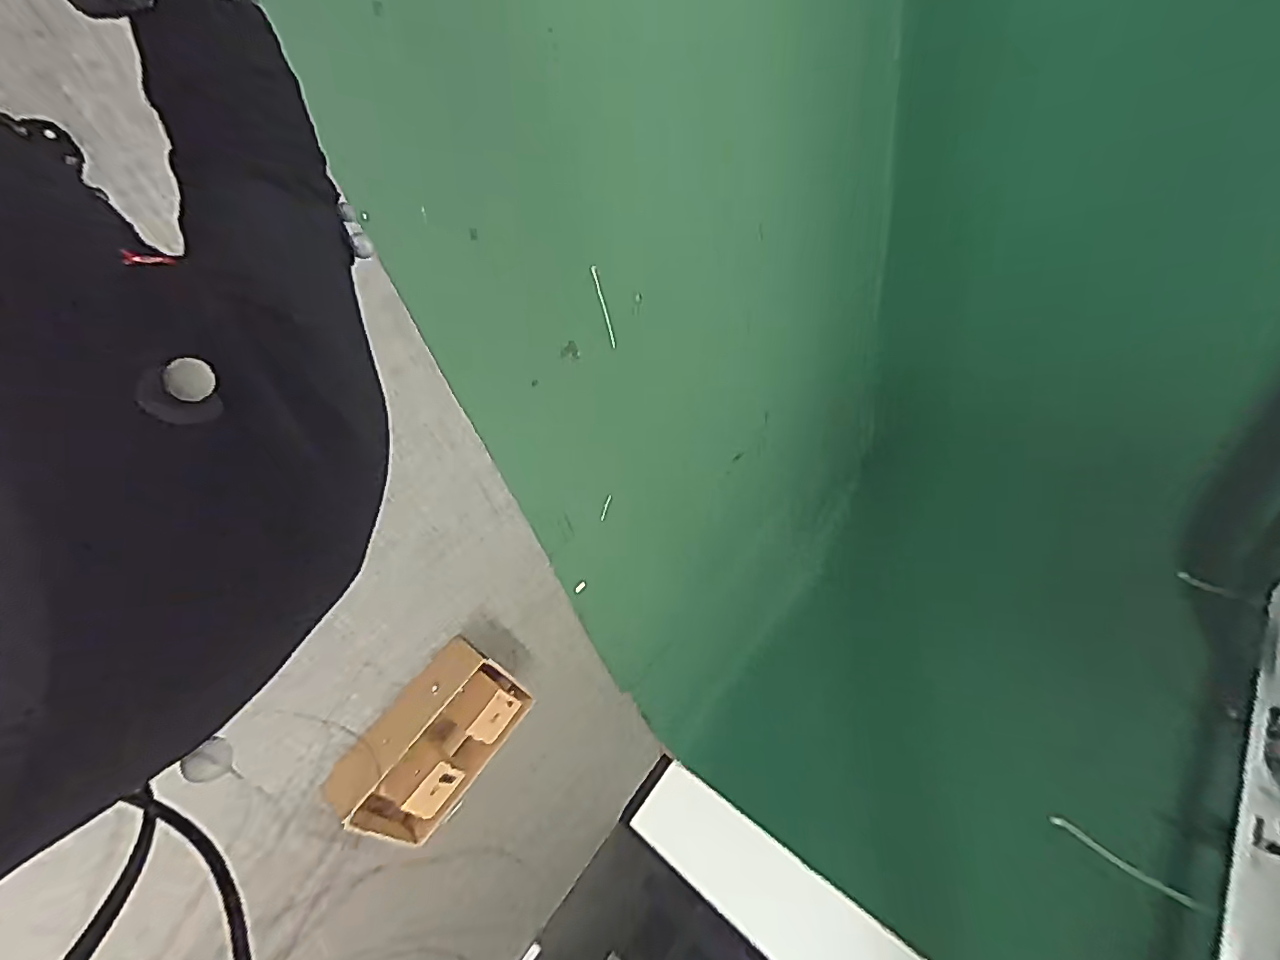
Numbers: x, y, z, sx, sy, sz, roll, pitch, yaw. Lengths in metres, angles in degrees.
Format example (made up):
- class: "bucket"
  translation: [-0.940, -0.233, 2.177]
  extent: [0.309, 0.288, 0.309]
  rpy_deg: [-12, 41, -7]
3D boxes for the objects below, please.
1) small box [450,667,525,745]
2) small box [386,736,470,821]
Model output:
- class: "small box"
  translation: [-0.562, 0.818, 1.962]
  extent: [0.179, 0.176, 0.168]
  rpy_deg: [-50, 140, -19]
- class: "small box"
  translation: [-0.731, 1.018, 1.855]
  extent: [0.179, 0.176, 0.168]
  rpy_deg: [-48, 139, -23]
